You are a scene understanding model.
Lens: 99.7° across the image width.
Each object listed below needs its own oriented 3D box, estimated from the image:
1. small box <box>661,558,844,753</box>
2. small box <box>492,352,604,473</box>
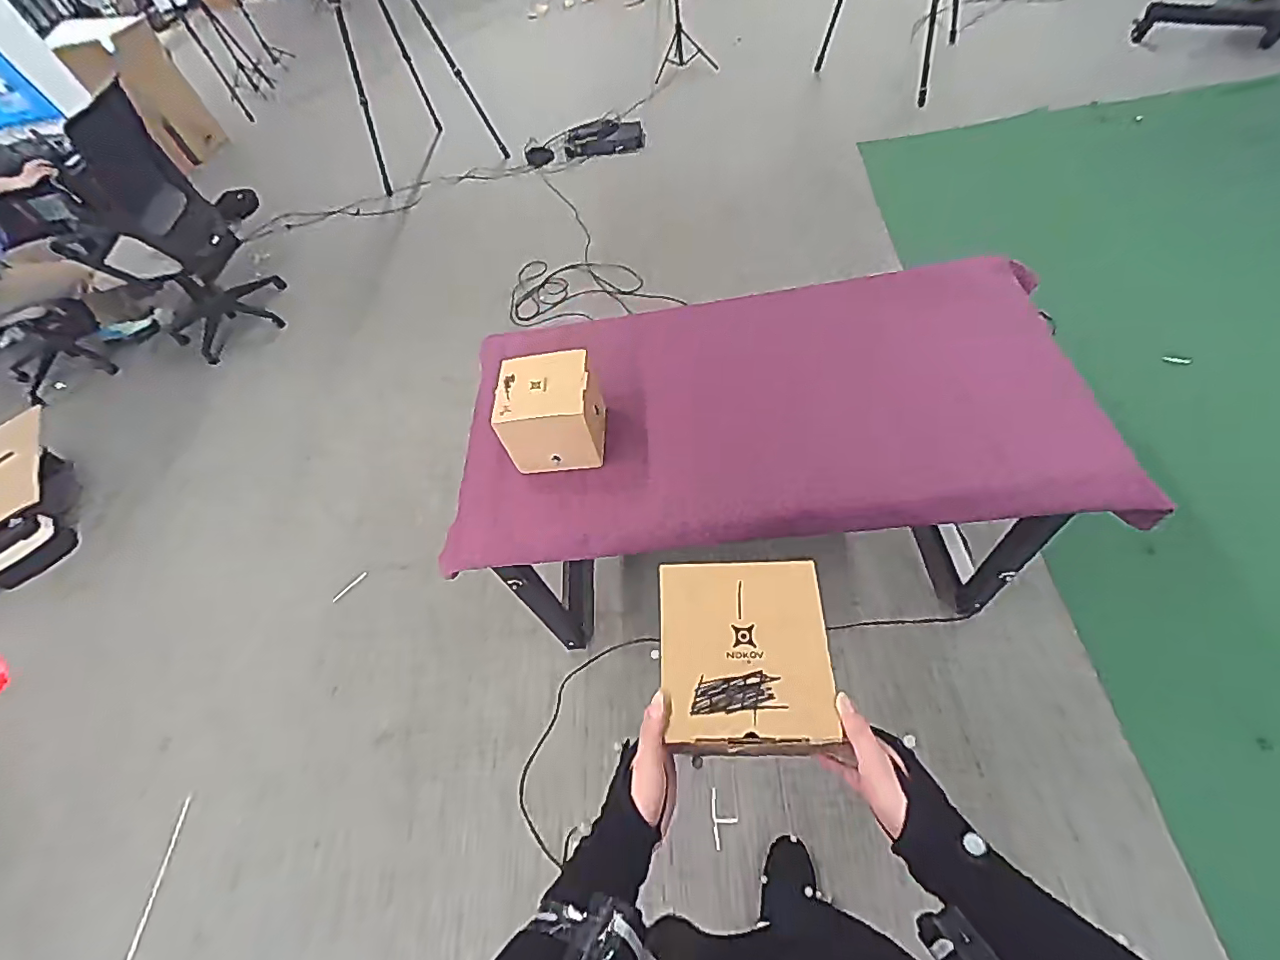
[{"bbox_3d":[0.110,0.200,0.597,0.168,0.176,0.179,-2,58,4],"label":"small box"},{"bbox_3d":[-0.171,-0.129,1.073,0.179,0.176,0.168,-4,56,7],"label":"small box"}]
